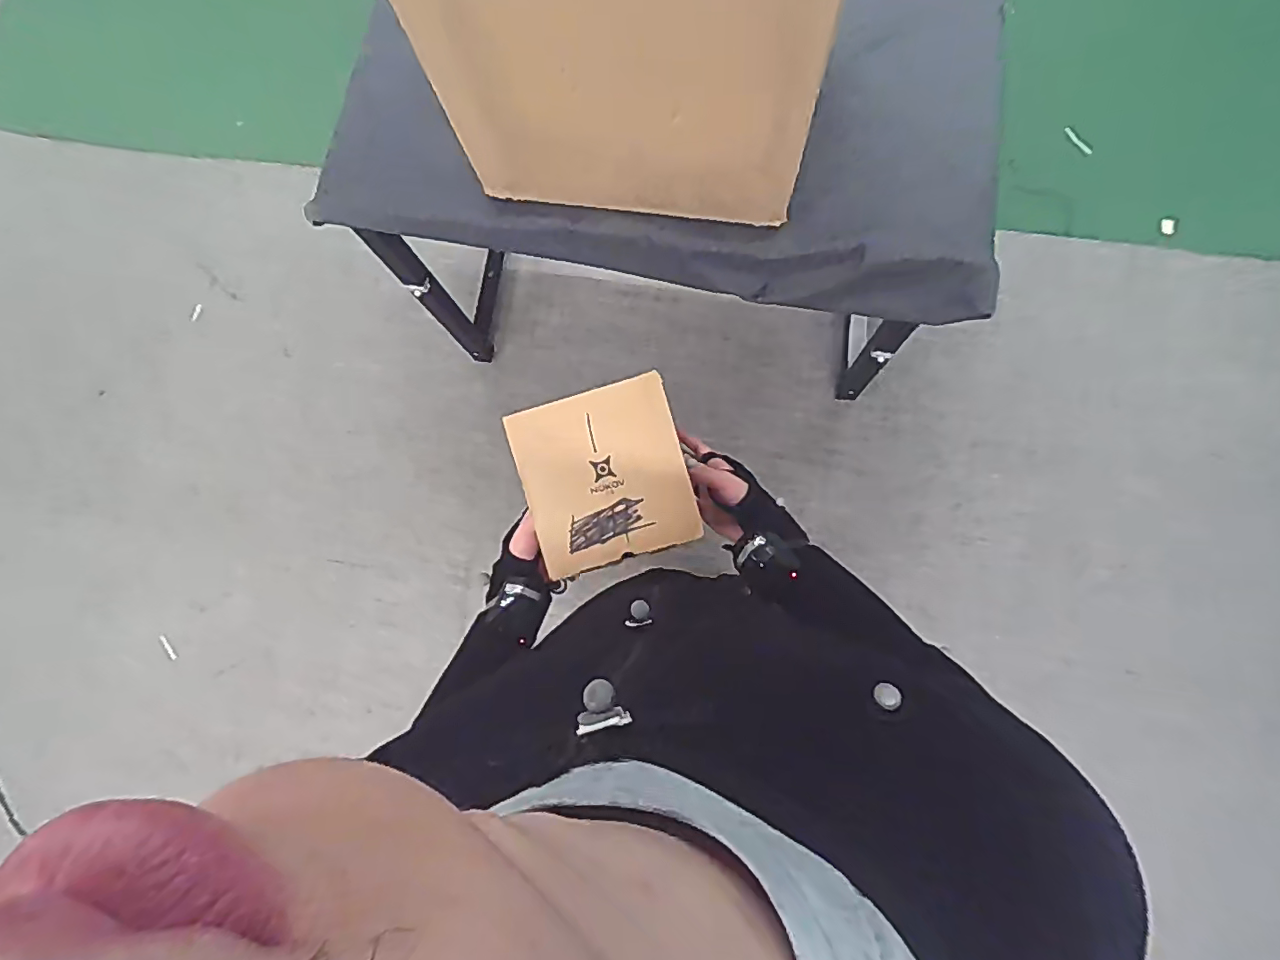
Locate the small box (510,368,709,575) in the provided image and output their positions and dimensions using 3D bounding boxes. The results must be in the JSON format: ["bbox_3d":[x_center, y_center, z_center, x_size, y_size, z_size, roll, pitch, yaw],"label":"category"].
[{"bbox_3d":[-0.026,-0.012,0.617,0.168,0.176,0.179,-16,92,3],"label":"small box"}]
